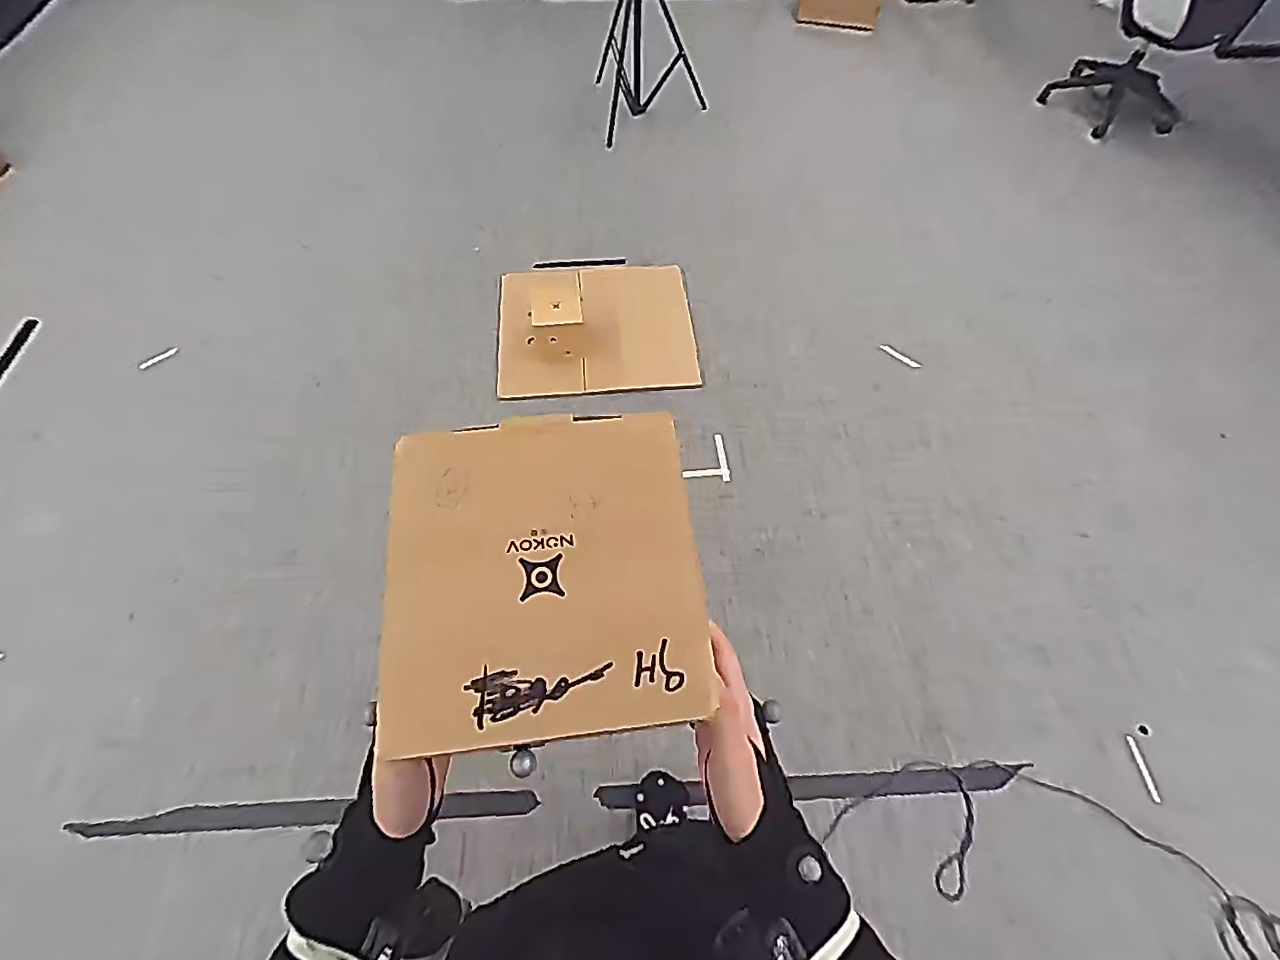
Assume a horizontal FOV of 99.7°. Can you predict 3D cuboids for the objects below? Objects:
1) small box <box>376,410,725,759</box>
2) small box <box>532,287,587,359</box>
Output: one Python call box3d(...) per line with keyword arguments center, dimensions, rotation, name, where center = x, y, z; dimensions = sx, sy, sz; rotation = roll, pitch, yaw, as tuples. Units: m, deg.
box3d(center=(-0.050, 0.078, 0.359), dimensions=(0.168, 0.176, 0.179), rotation=(-7, 65, -2), name="small box")
box3d(center=(-0.275, -0.533, 1.858), dimensions=(0.168, 0.176, 0.179), rotation=(-6, 61, -4), name="small box")
